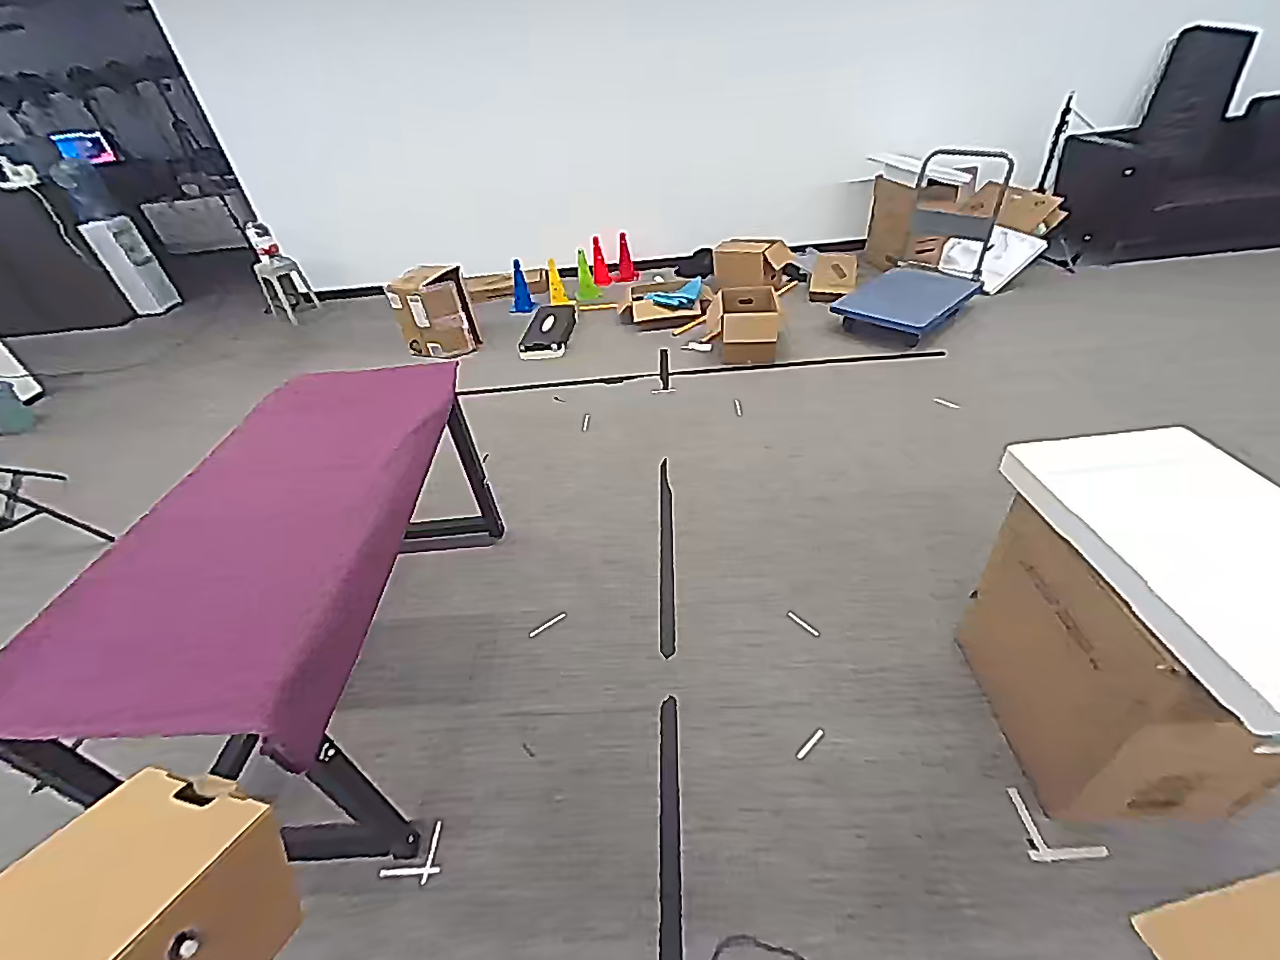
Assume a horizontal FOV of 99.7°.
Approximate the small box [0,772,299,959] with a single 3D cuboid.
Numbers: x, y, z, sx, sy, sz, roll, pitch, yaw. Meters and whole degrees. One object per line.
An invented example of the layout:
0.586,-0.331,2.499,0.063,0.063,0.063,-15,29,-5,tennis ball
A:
-0.452,0.414,0.491,0.168,0.176,0.179,6,19,14,small box
